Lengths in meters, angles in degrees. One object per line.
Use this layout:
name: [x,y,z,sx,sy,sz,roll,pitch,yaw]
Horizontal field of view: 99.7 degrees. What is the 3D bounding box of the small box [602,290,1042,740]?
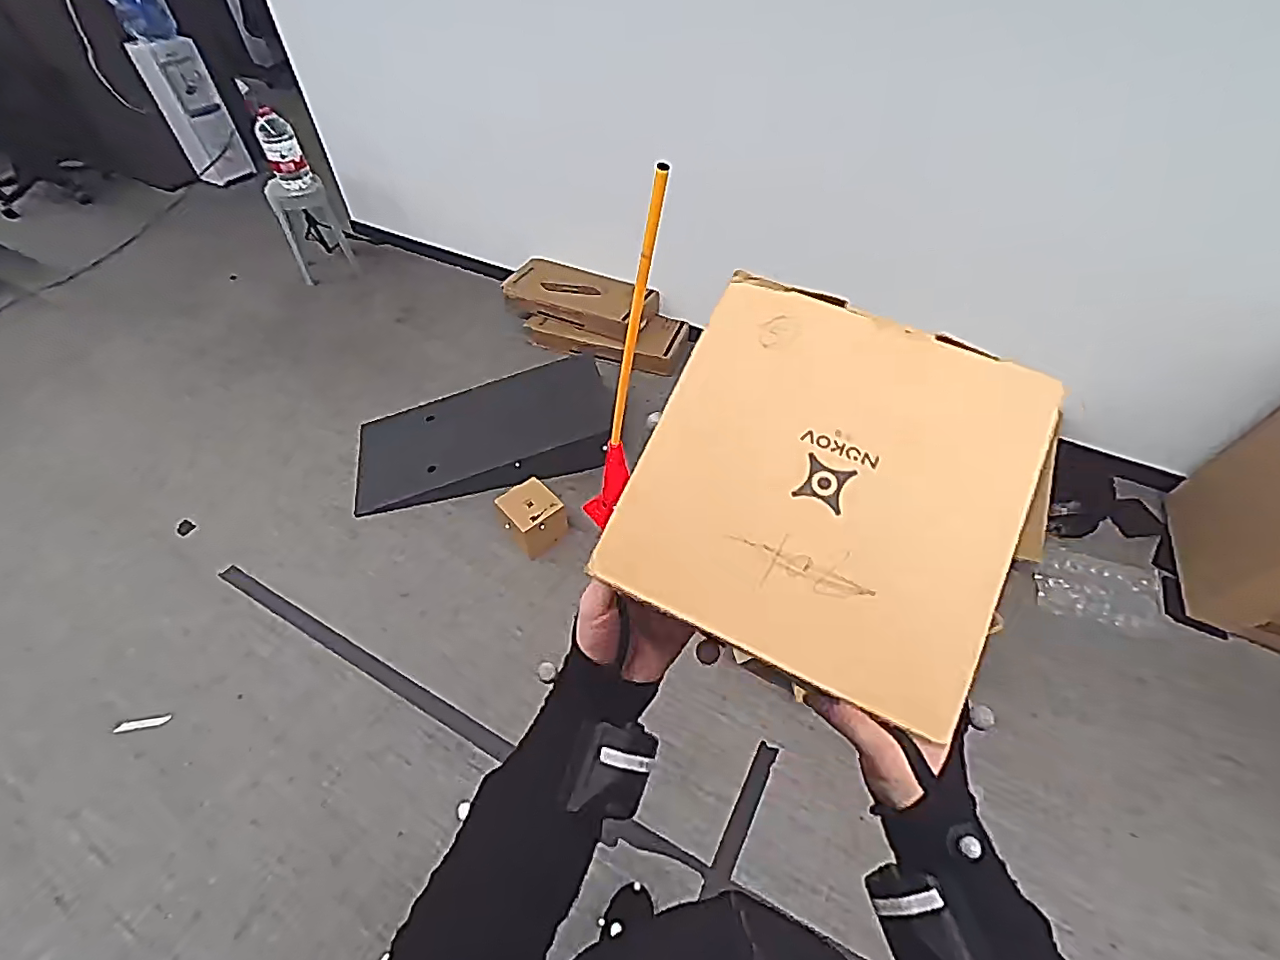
small box: [0.095,0.024,0.335,0.168,0.176,0.179,22,78,11]
